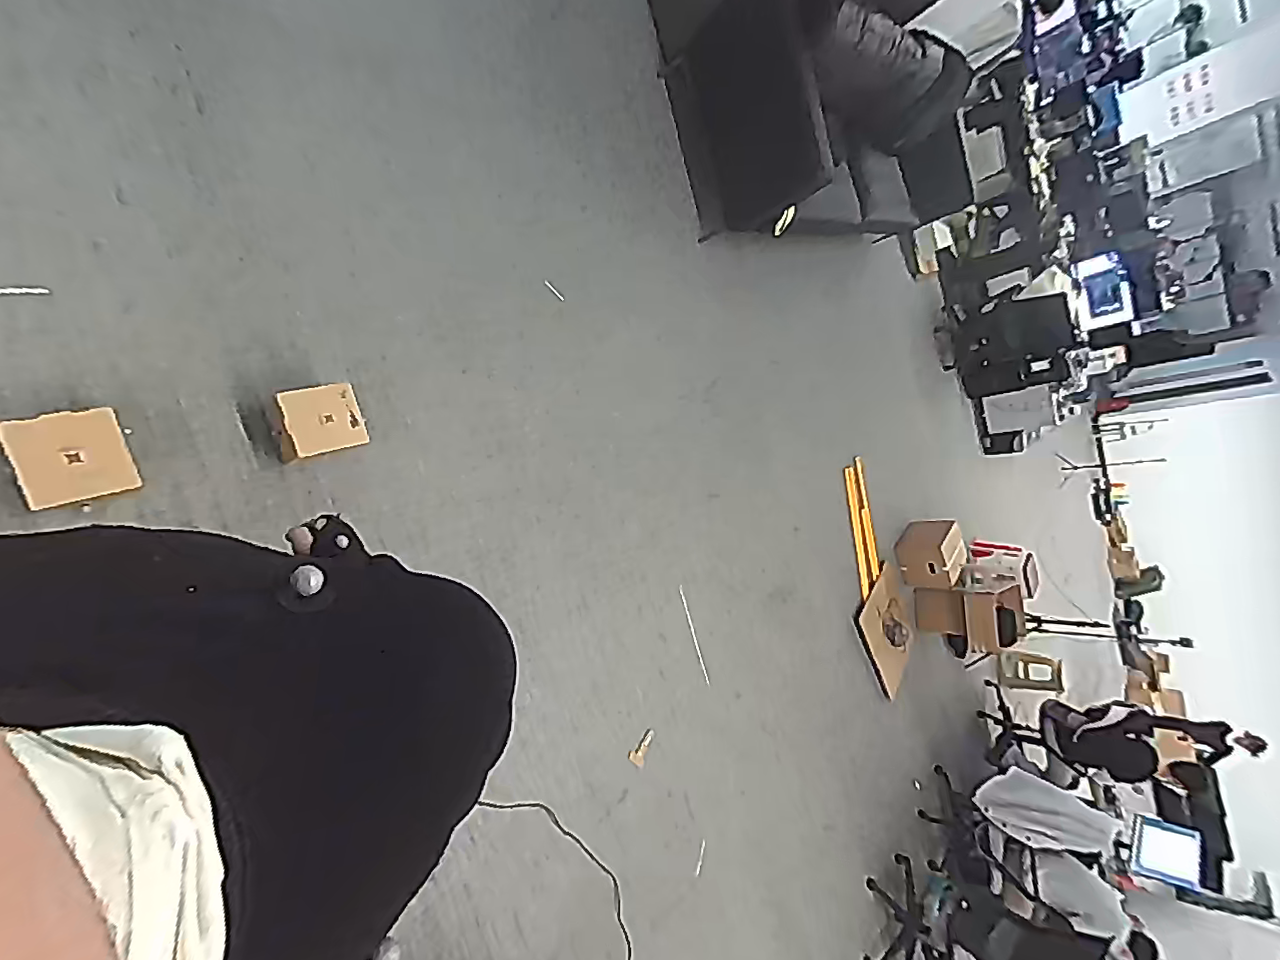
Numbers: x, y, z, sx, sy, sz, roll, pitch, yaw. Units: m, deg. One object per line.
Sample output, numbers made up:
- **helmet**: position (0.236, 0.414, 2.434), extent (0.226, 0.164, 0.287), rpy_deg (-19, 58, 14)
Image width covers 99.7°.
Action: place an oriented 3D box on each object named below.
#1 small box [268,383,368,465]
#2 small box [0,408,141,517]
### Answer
- **small box**: position (-0.848, -0.143, 1.413), extent (0.179, 0.176, 0.168), rpy_deg (-22, 99, -42)
- **small box**: position (-1.164, -0.034, 1.110), extent (0.168, 0.176, 0.179), rpy_deg (-23, 99, -41)
